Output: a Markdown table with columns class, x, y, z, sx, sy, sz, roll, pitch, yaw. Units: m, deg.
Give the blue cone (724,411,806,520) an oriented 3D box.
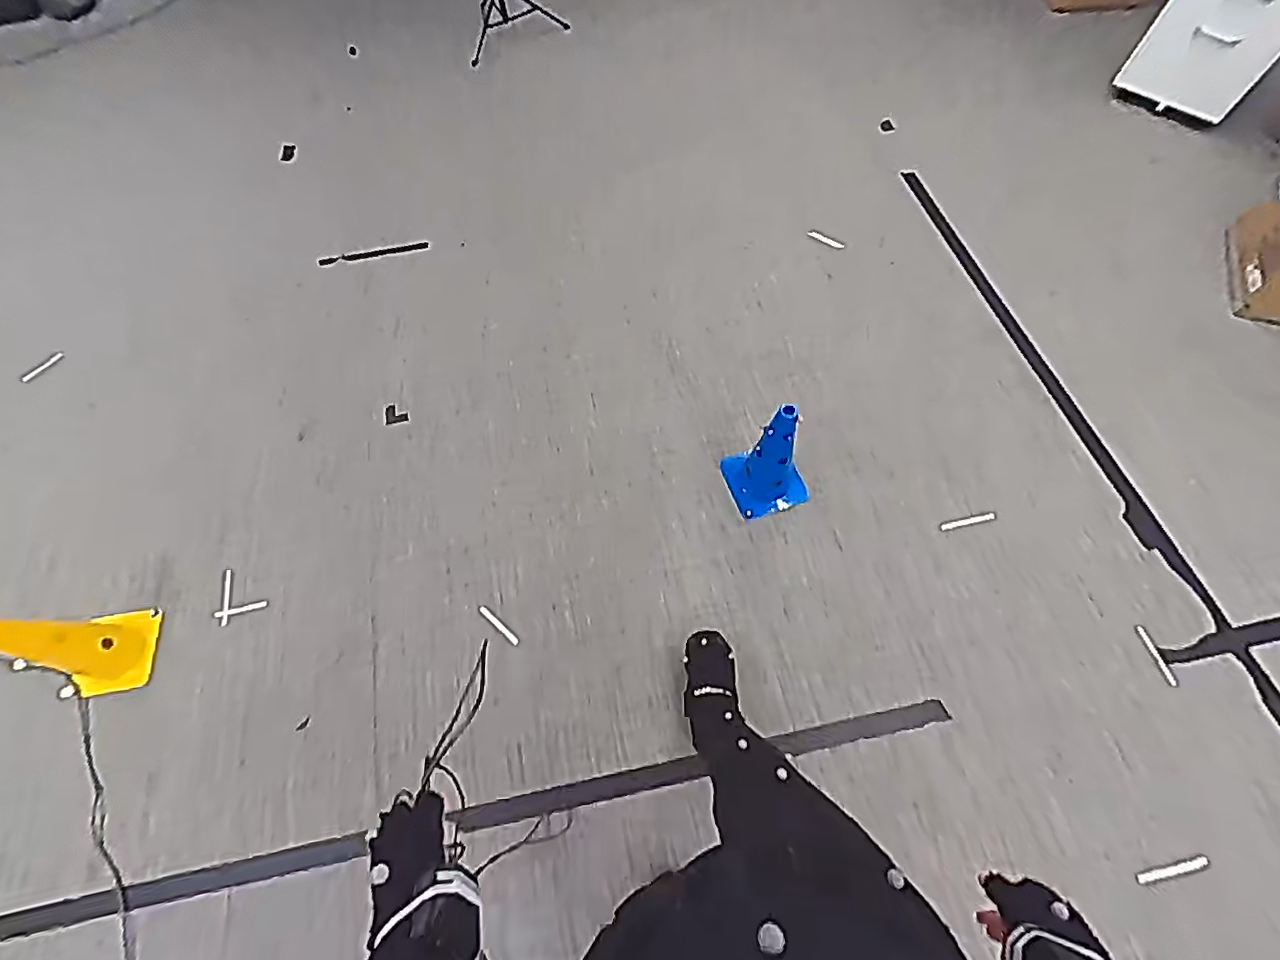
| class | x | y | z | sx | sy | sz | roll | pitch | yaw |
| --- | --- | --- | --- | --- | --- | --- | --- | --- | --- |
| blue cone | 0.336 | -0.065 | 1.355 | 0.193 | 0.380 | 0.192 | -17 | 65 | -5 |
